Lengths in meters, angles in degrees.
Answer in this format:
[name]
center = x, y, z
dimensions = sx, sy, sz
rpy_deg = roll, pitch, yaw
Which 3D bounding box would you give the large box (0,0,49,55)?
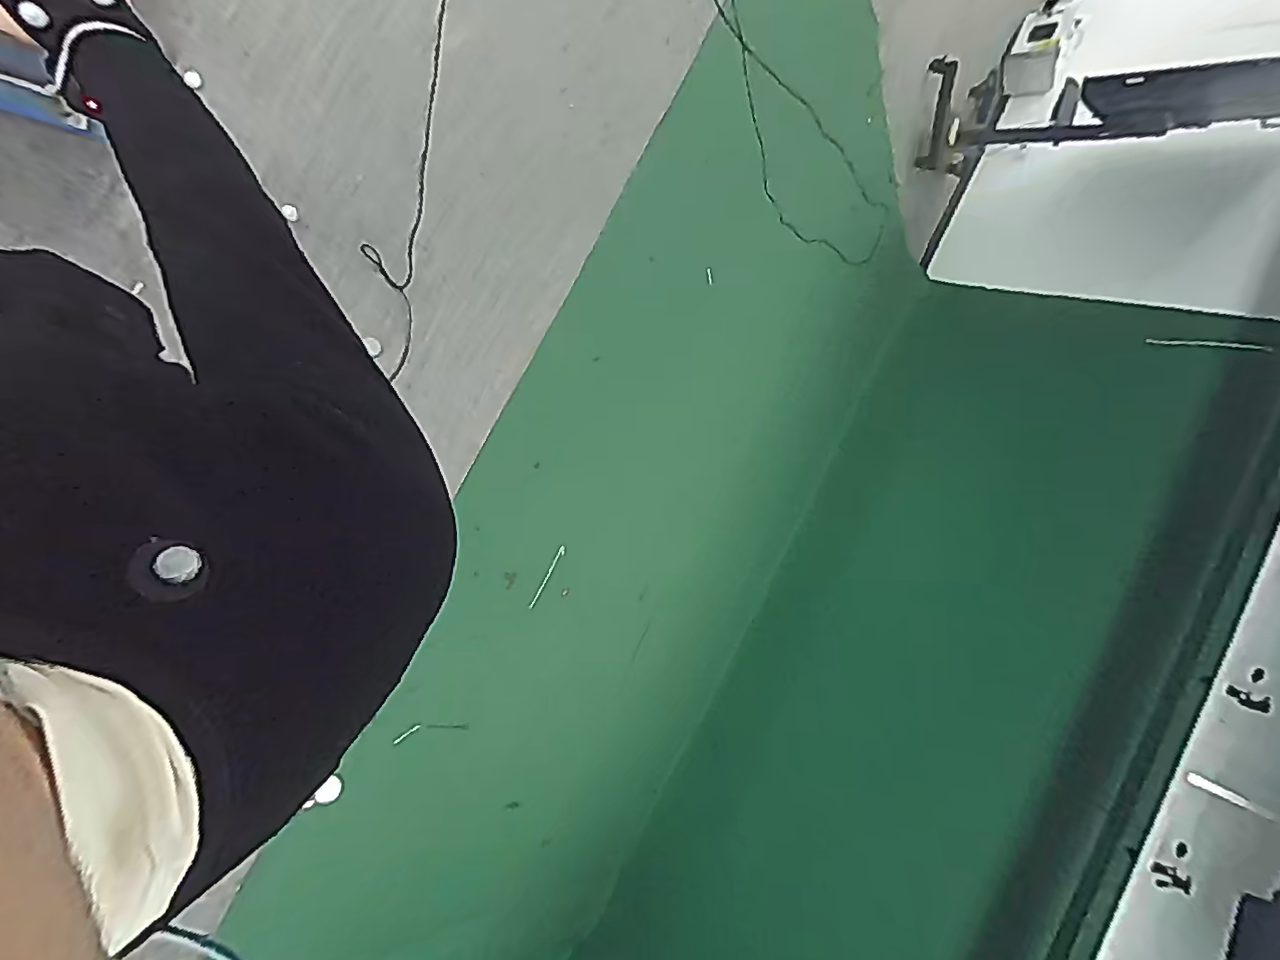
[large box]
center = -0.932, -0.815, 0.623
dimensions = 0.320, 0.320, 0.408
rpy_deg = -4, 111, -51
